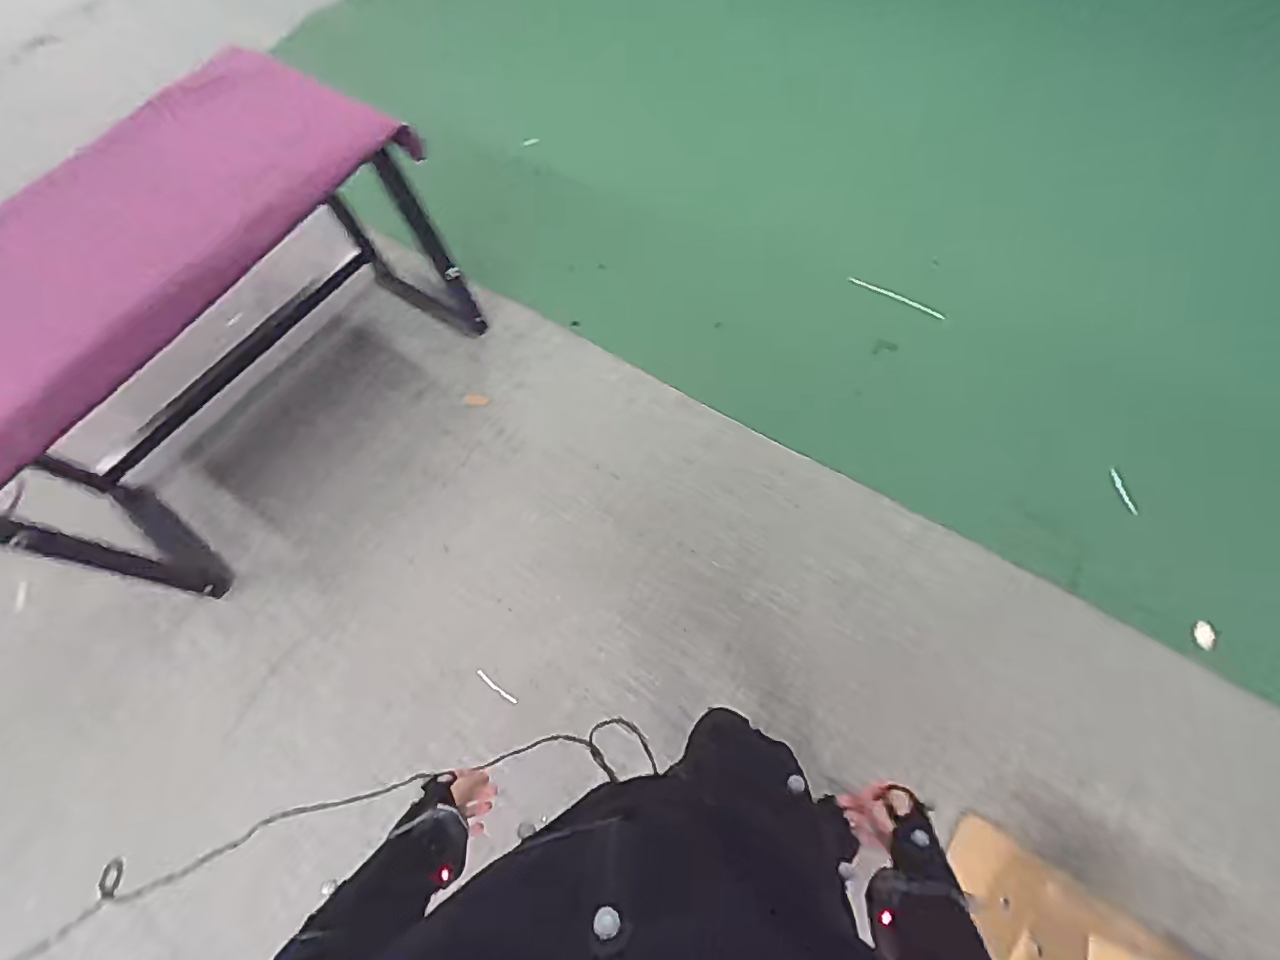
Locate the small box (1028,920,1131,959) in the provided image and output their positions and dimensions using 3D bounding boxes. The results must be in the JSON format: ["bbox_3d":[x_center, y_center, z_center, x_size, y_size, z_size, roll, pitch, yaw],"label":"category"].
[{"bbox_3d":[0.736,0.832,0.835,0.179,0.176,0.168,20,69,15],"label":"small box"}]

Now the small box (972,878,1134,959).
[{"bbox_3d":[0.758,0.877,0.993,0.179,0.176,0.168,37,76,20],"label":"small box"}]
